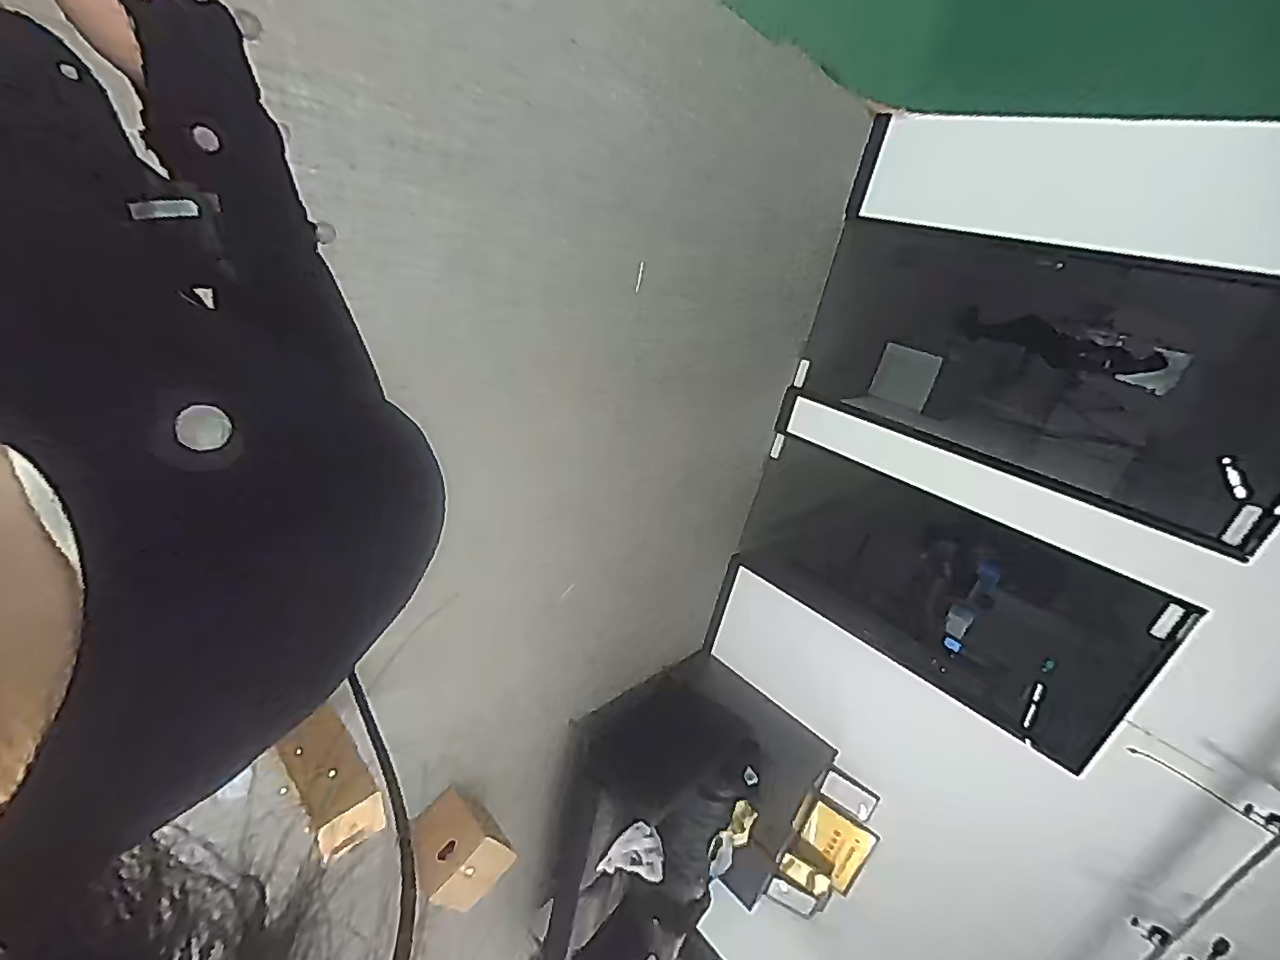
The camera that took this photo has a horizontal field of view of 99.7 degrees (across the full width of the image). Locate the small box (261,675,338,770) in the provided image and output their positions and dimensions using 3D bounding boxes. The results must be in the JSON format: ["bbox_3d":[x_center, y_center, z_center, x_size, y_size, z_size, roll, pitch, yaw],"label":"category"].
[{"bbox_3d":[-1.075,0.758,1.707,0.179,0.176,0.168,-15,127,-44],"label":"small box"}]

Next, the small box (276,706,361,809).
[{"bbox_3d":[-0.960,0.818,1.609,0.179,0.176,0.168,-19,131,-44],"label":"small box"}]
